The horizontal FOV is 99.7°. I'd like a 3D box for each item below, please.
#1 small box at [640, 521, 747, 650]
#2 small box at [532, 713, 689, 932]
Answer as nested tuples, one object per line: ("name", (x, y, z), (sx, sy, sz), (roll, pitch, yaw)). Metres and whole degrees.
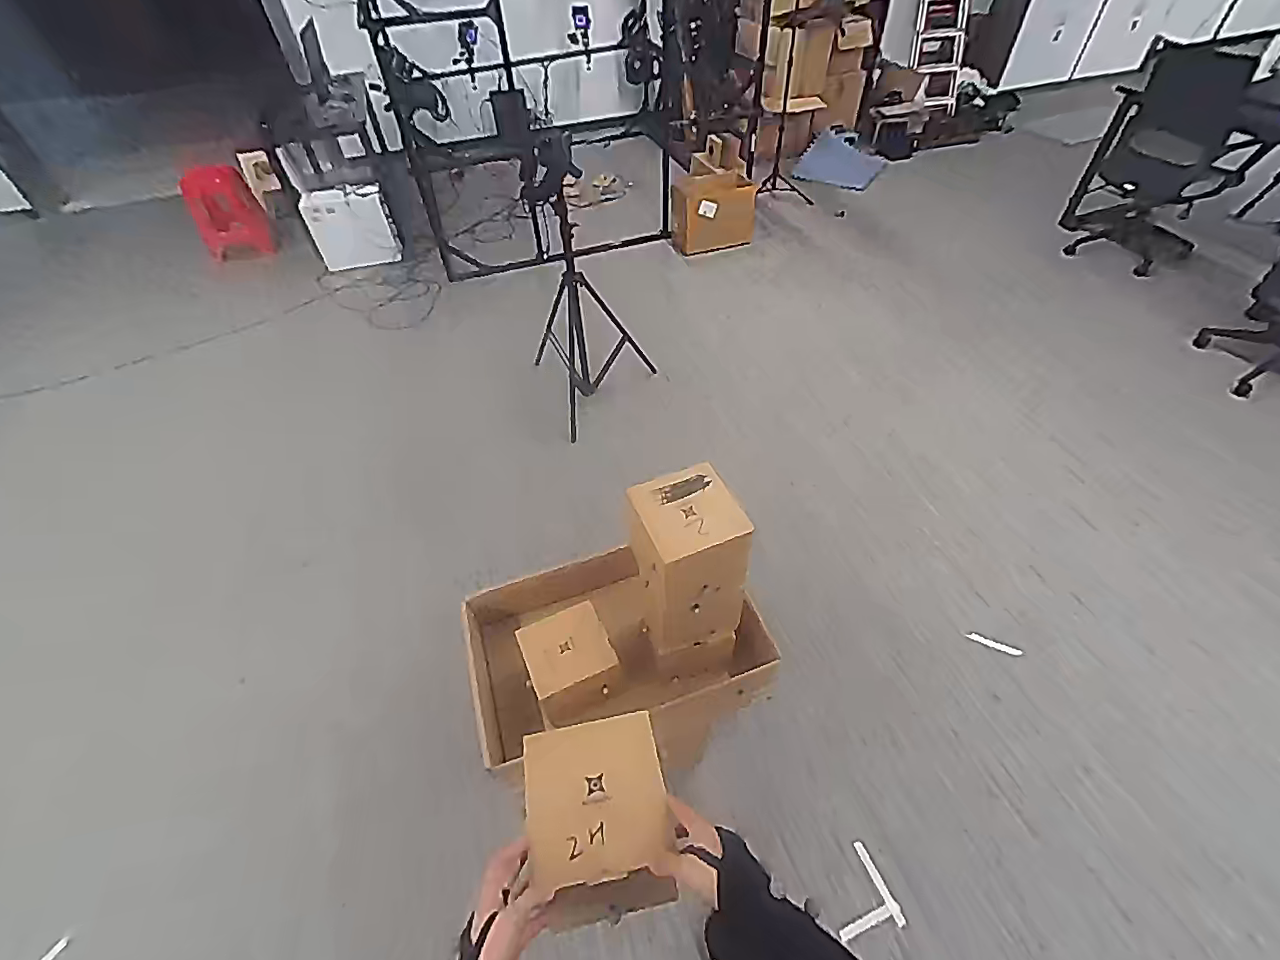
("small box", (0.102, 0.215, 1.104), (0.168, 0.176, 0.179), (-14, 48, -9))
("small box", (-0.041, 0.434, 0.690), (0.168, 0.176, 0.179), (-9, 41, -8))
